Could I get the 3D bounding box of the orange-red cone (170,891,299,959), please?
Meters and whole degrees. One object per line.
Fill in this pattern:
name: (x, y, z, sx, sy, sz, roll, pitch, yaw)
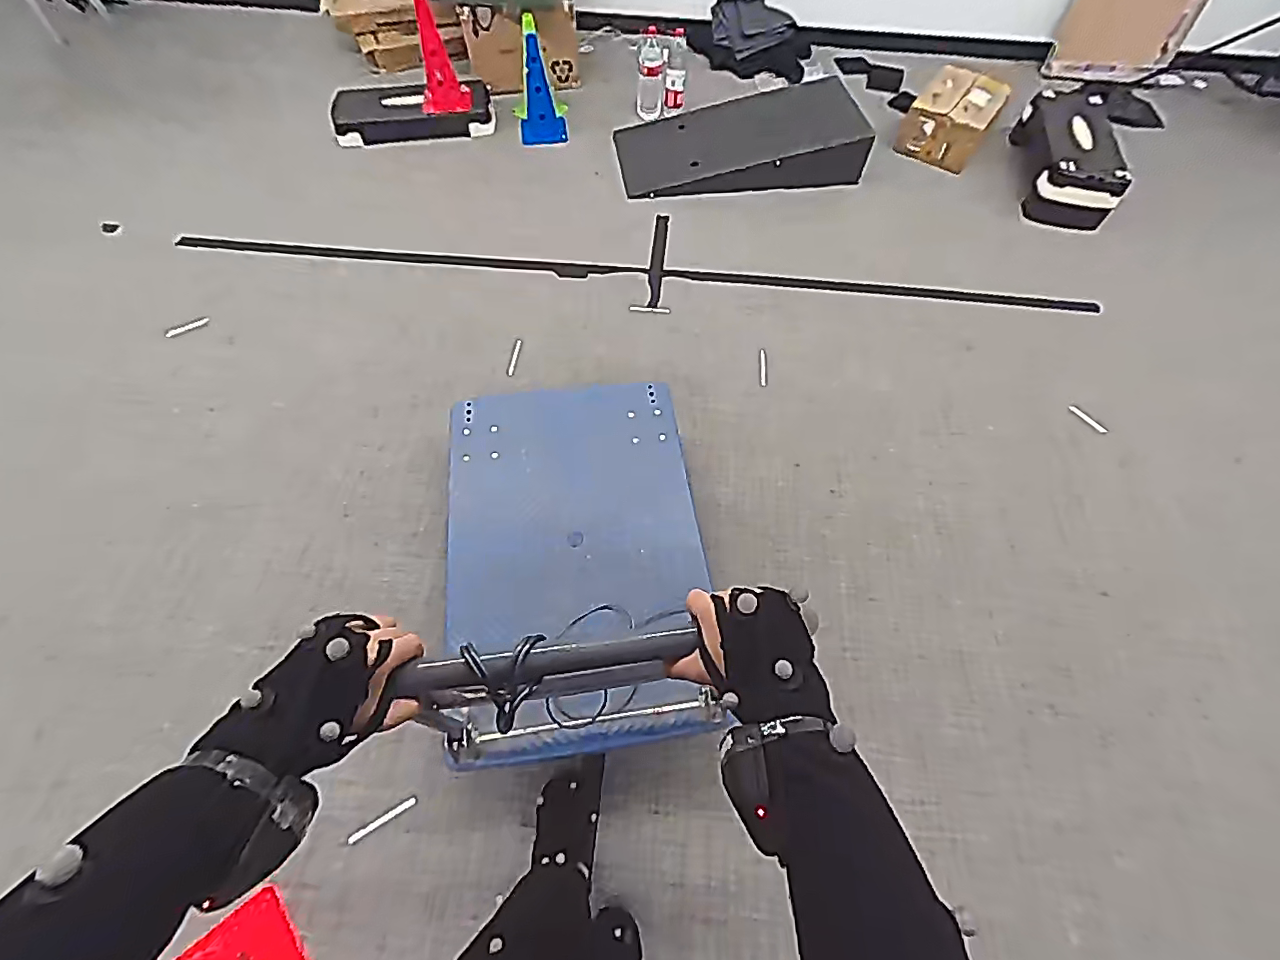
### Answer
orange-red cone: (-0.716, 0.804, 0.819, 0.199, 0.360, 0.198, -34, 67, -21)
